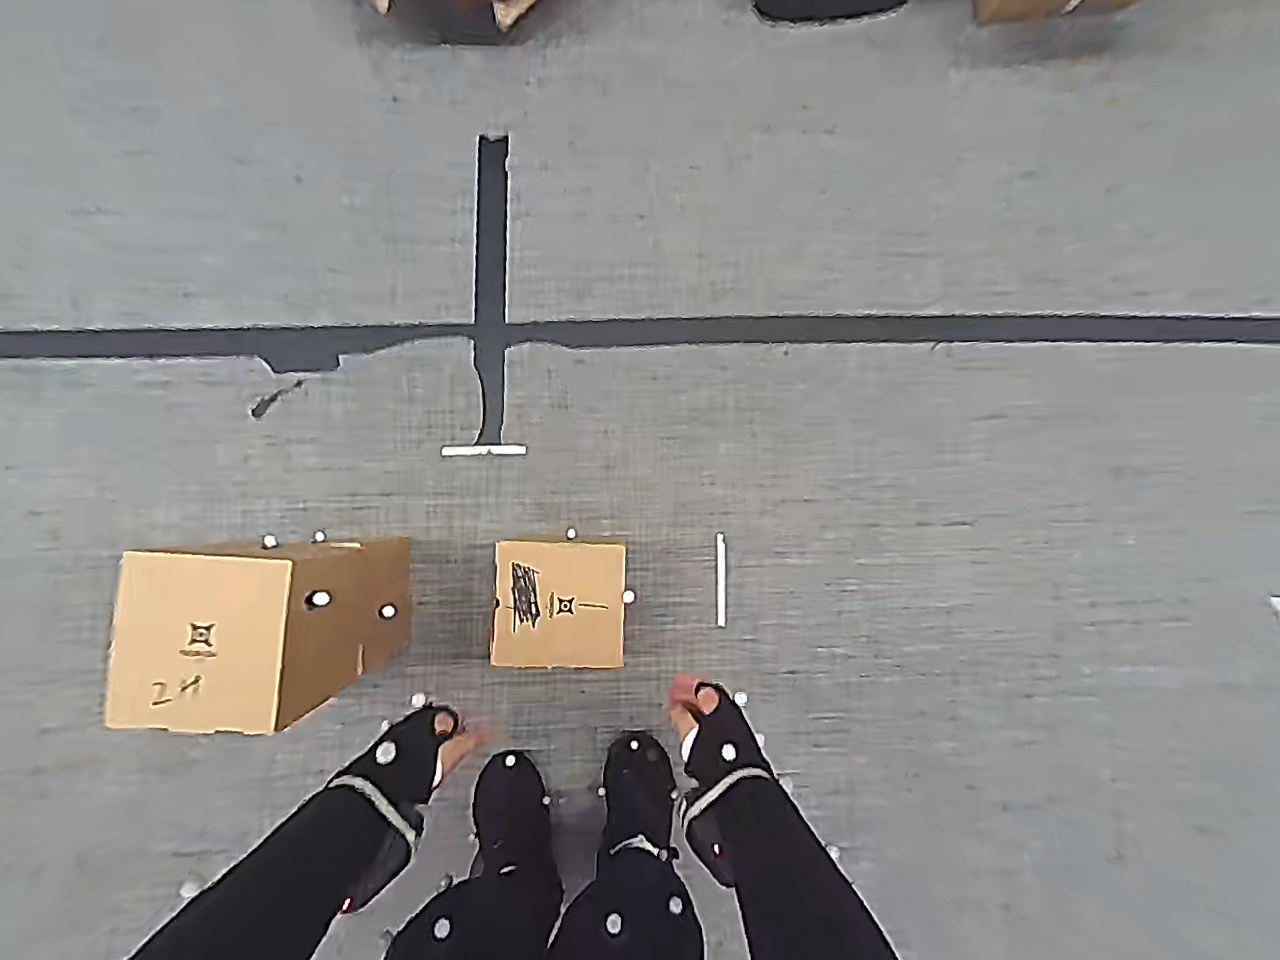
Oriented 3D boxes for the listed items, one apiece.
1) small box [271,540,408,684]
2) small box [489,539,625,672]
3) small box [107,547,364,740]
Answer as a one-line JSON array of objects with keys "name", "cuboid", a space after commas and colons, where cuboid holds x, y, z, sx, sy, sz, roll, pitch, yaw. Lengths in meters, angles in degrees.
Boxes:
[{"name": "small box", "cuboid": [-0.449, 0.183, 0.784, 0.168, 0.176, 0.179, -2, 88, -3]}, {"name": "small box", "cuboid": [-0.114, 0.177, 0.803, 0.179, 0.176, 0.168, 2, 87, -4]}, {"name": "small box", "cuboid": [-0.439, 0.171, 0.619, 0.168, 0.176, 0.179, 4, 87, -2]}]
